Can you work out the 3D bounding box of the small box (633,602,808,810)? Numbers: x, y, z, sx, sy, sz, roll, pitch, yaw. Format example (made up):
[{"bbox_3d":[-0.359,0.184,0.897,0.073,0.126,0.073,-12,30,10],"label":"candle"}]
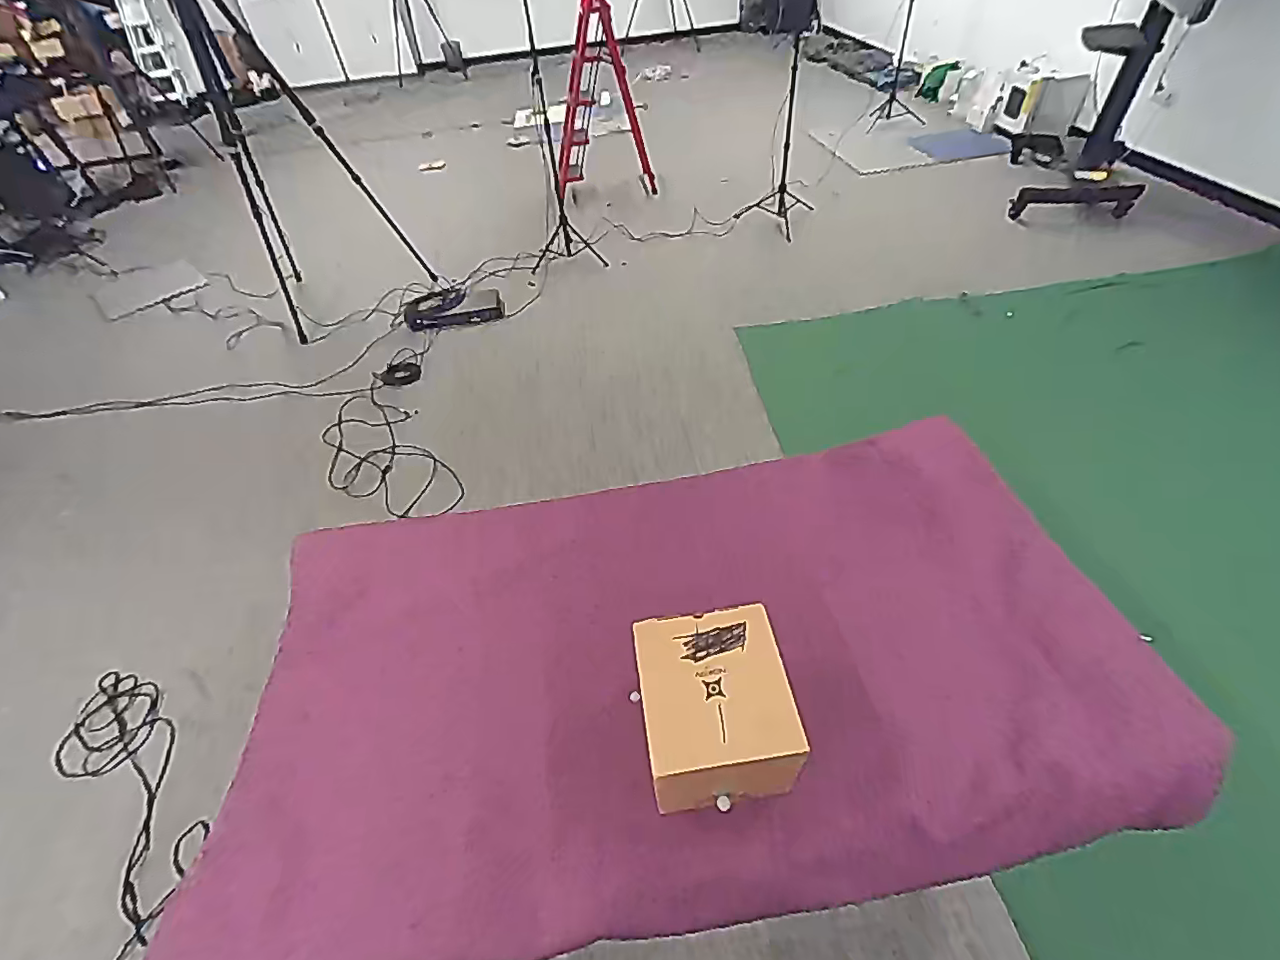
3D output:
[{"bbox_3d":[0.085,0.275,0.657,0.168,0.176,0.179,-9,48,-1],"label":"small box"}]
